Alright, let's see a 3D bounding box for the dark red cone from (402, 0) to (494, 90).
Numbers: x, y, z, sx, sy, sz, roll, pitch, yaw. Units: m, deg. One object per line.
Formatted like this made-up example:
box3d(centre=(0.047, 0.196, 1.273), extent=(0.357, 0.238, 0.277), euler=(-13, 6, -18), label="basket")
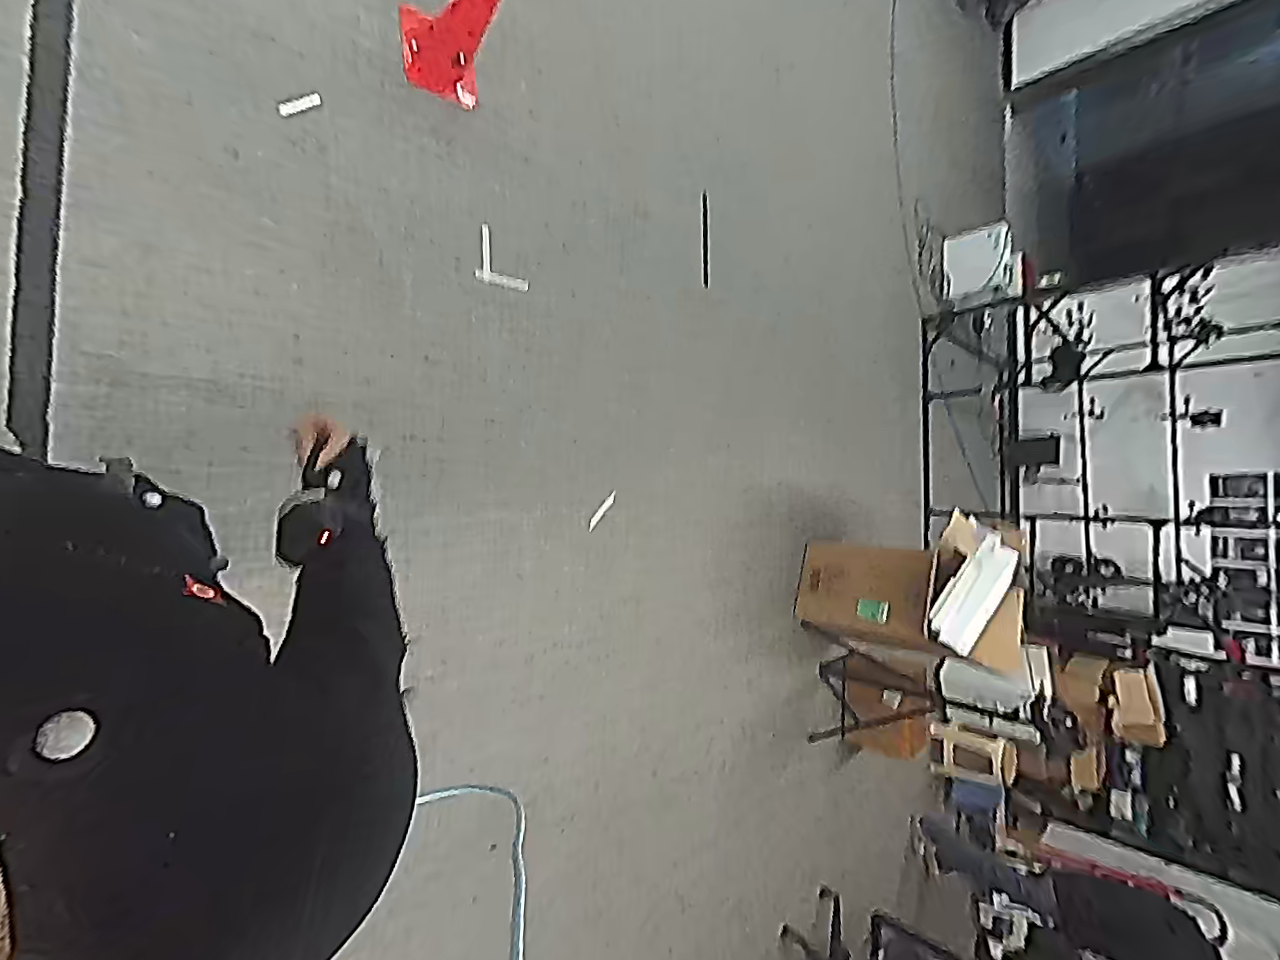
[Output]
box3d(centre=(-0.411, -1.158, 1.304), extent=(0.201, 0.394, 0.202), euler=(-8, 95, -42), label="dark red cone")
